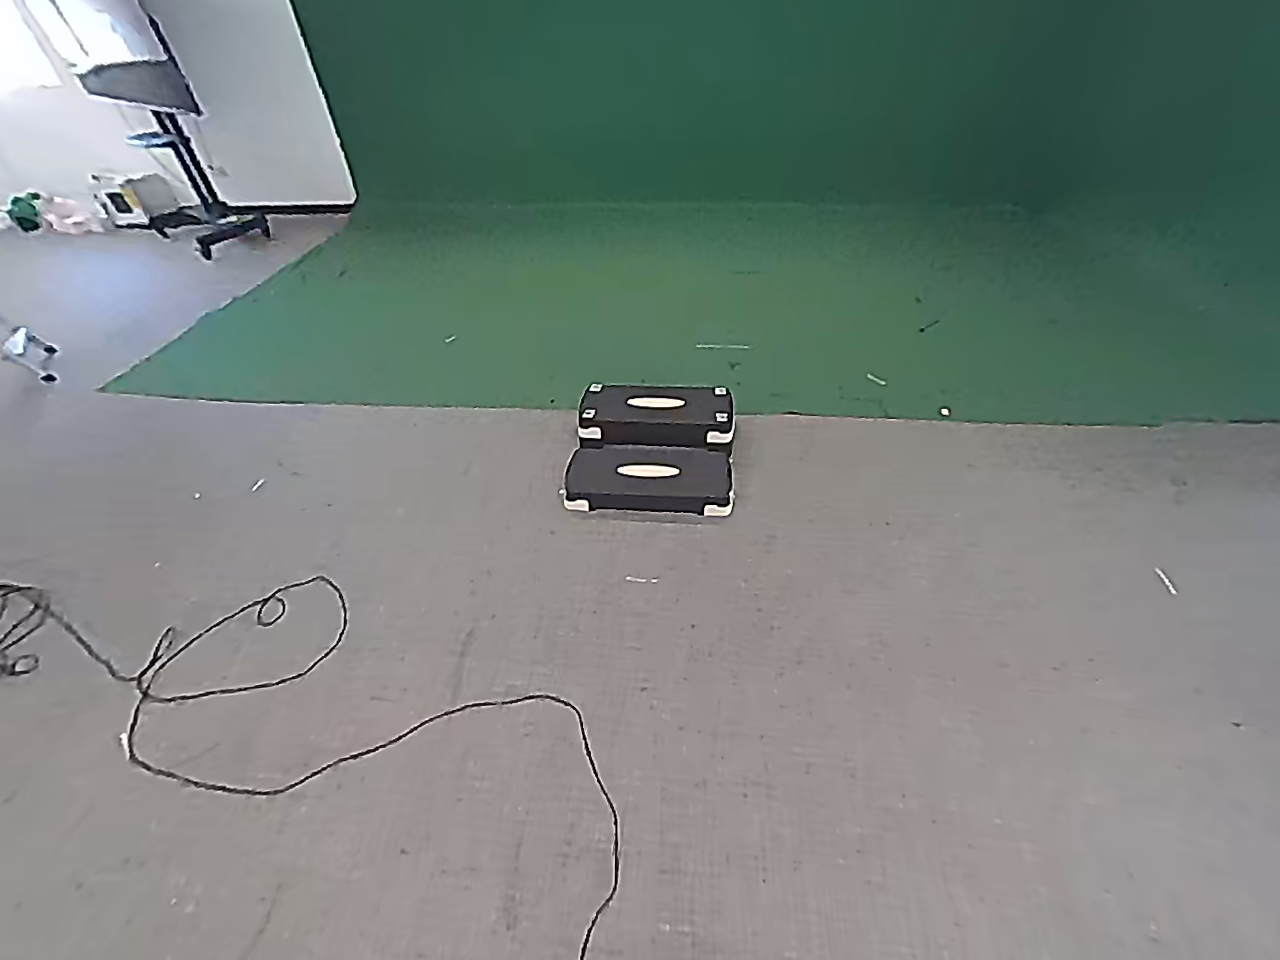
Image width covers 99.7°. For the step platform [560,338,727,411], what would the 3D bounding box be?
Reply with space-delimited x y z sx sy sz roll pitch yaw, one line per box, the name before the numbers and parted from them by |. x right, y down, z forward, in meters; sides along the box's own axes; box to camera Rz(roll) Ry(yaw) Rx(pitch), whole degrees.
step platform | 0.018 -0.445 2.280 0.684 0.204 0.286 1 43 5
